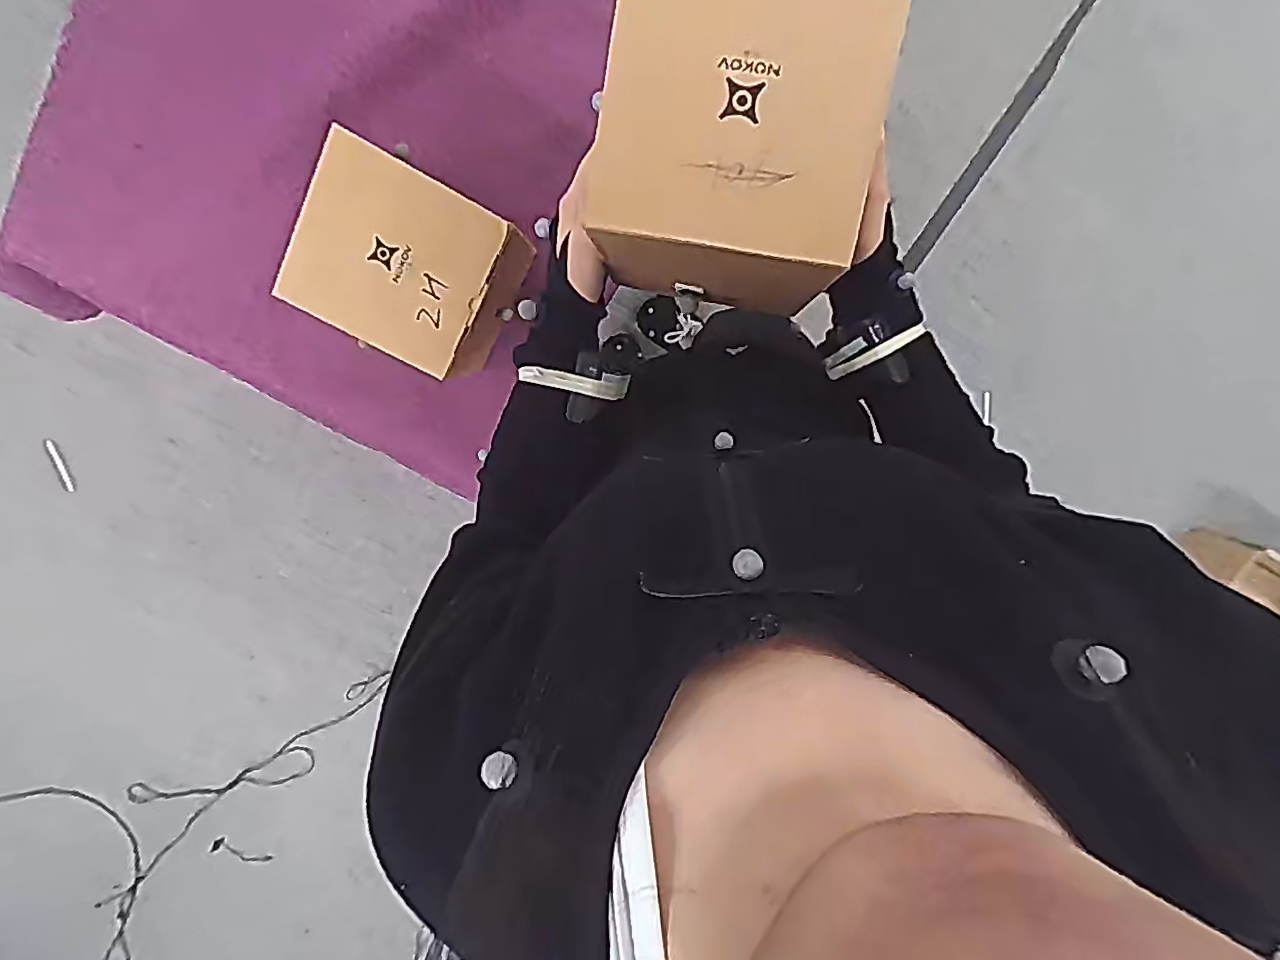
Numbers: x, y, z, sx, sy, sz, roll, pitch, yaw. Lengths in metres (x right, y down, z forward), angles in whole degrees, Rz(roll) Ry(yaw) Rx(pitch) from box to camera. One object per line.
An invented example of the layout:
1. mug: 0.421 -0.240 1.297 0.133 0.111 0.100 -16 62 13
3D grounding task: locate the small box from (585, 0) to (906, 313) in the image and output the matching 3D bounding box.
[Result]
1. small box: 0.067 -0.238 0.399 0.168 0.176 0.179 11 98 4

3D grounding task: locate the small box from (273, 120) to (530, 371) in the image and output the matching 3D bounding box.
1. small box: -0.239 -0.234 0.586 0.179 0.176 0.168 27 103 -11
